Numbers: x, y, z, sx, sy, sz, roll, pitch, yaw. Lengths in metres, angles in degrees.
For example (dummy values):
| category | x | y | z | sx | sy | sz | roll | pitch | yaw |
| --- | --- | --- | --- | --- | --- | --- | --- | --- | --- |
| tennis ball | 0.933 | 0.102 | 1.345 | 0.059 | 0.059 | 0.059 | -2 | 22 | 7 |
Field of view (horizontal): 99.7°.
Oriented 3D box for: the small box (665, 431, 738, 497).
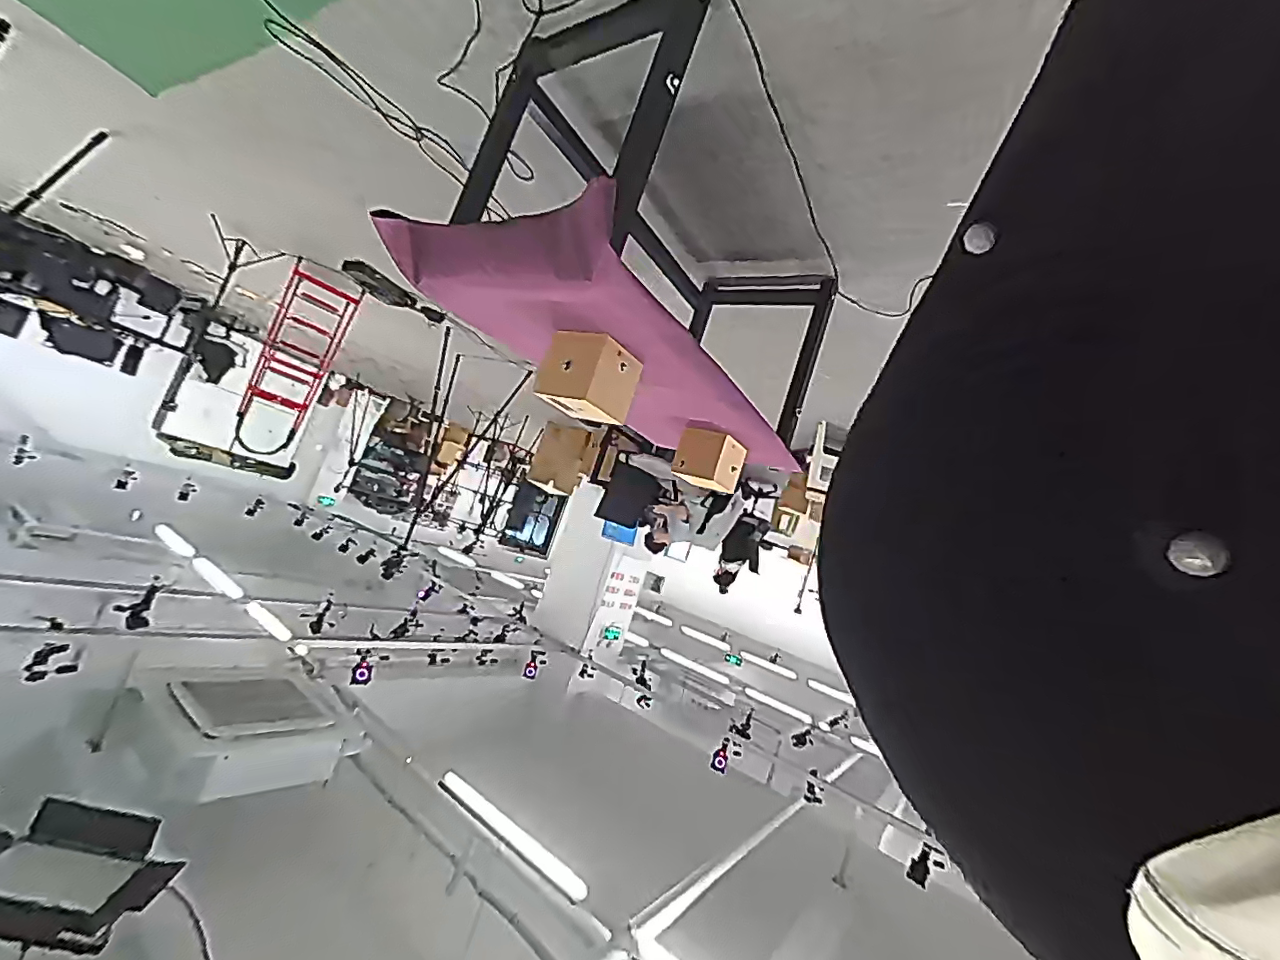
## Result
| category | x | y | z | sx | sy | sz | roll | pitch | yaw |
| --- | --- | --- | --- | --- | --- | --- | --- | --- | --- |
| small box | 0.216 | -0.055 | 1.827 | 0.179 | 0.176 | 0.168 | 14 | 172 | 36 |
